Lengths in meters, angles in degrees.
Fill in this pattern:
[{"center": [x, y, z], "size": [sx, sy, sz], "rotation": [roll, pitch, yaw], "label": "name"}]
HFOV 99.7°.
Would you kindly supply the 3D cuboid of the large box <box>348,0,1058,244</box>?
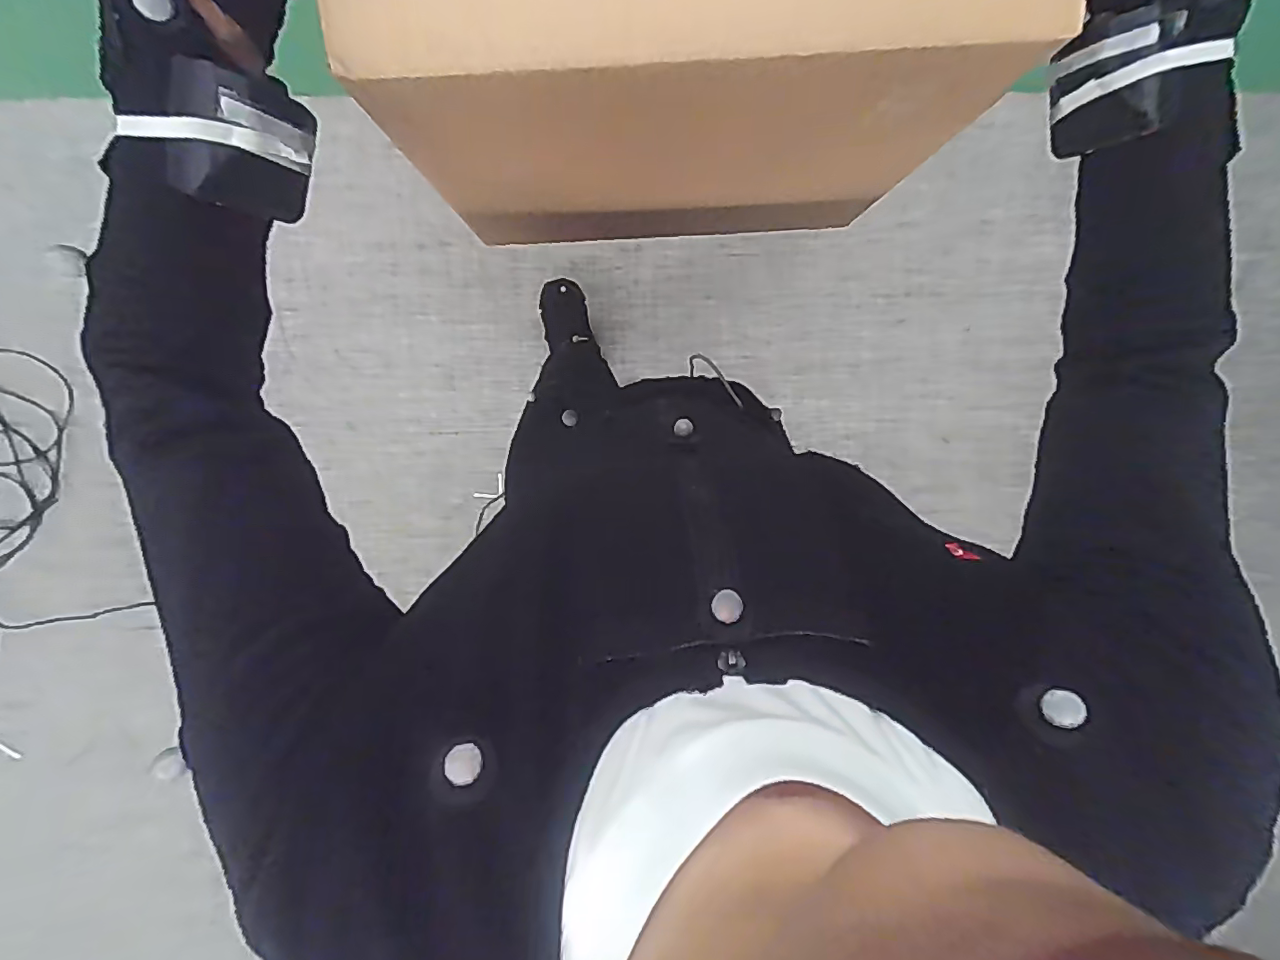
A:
[{"center": [0.023, -0.407, 0.433], "size": [0.408, 0.320, 0.320], "rotation": [-4, 98, 0], "label": "large box"}]
